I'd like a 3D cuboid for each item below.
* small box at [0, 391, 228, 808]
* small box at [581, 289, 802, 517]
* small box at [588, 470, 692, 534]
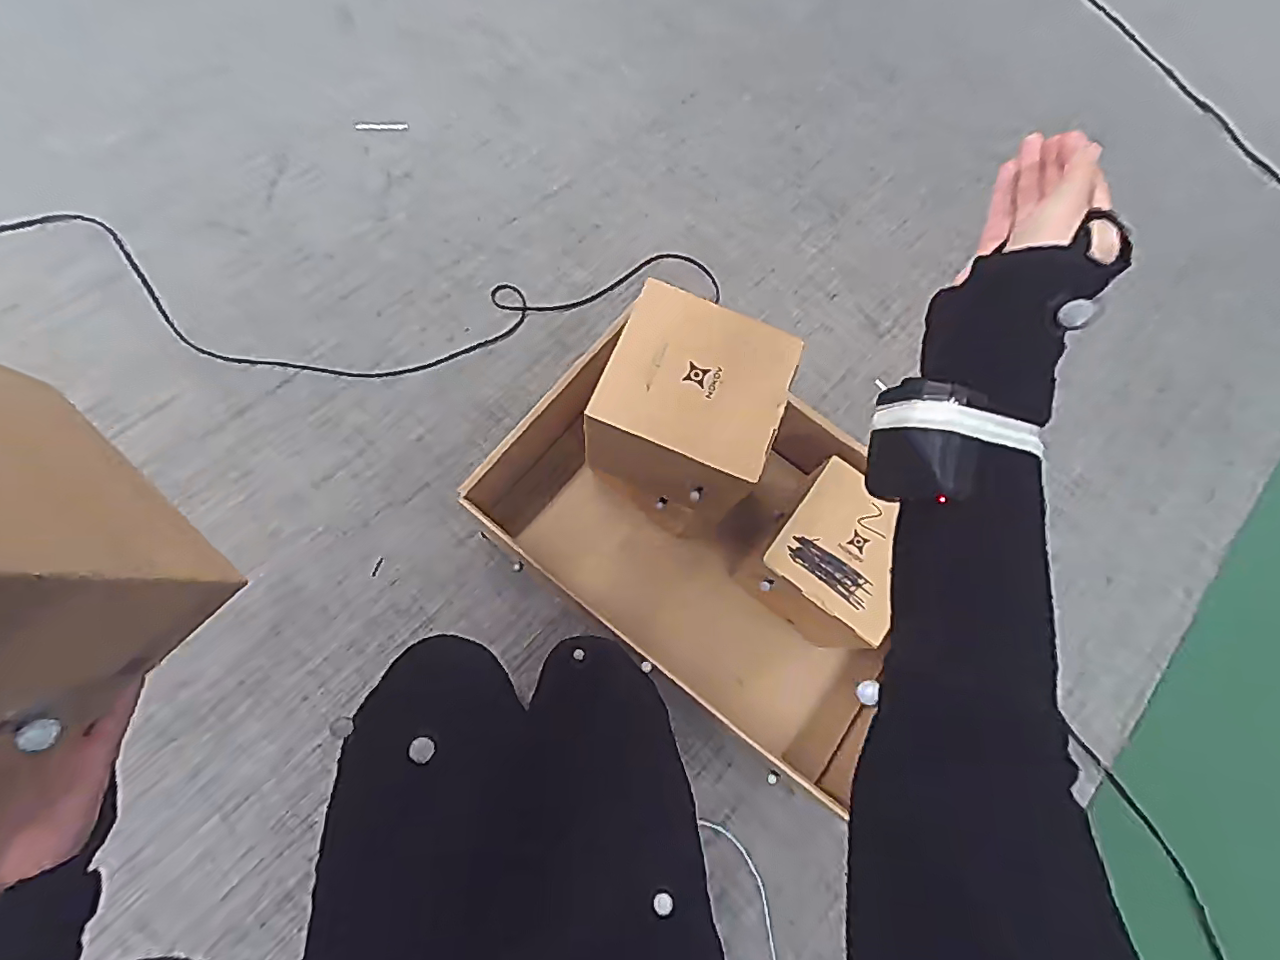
[{"bbox_3d":[-0.343,0.050,0.229,0.179,0.176,0.168,43,78,3],"label":"small box"},{"bbox_3d":[0.047,-0.070,0.601,0.179,0.176,0.168,23,74,2],"label":"small box"},{"bbox_3d":[0.037,-0.042,0.762,0.179,0.176,0.168,39,75,5],"label":"small box"}]
